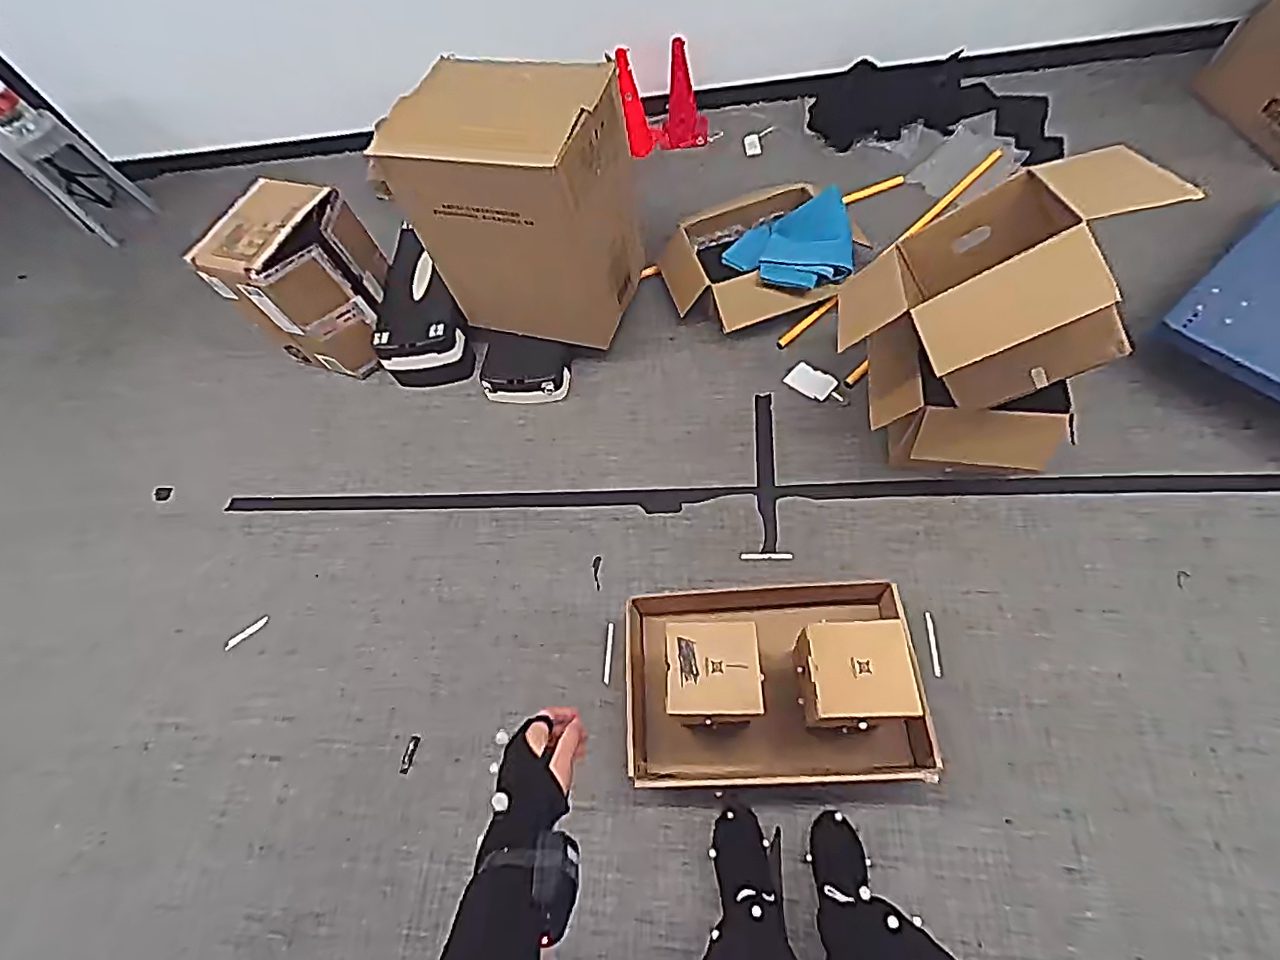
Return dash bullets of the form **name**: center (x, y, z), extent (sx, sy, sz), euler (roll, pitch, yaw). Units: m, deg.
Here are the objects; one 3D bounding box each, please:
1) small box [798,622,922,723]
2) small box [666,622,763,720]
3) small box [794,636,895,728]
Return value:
- **small box**: center (0.411, 0.373, 1.041), extent (0.179, 0.176, 0.168), euler (-5, 63, 8)
- **small box**: center (0.145, 0.383, 1.077), extent (0.179, 0.176, 0.168), euler (-2, 63, 6)
- **small box**: center (0.438, 0.445, 1.184), extent (0.168, 0.176, 0.179), euler (-4, 62, 7)
